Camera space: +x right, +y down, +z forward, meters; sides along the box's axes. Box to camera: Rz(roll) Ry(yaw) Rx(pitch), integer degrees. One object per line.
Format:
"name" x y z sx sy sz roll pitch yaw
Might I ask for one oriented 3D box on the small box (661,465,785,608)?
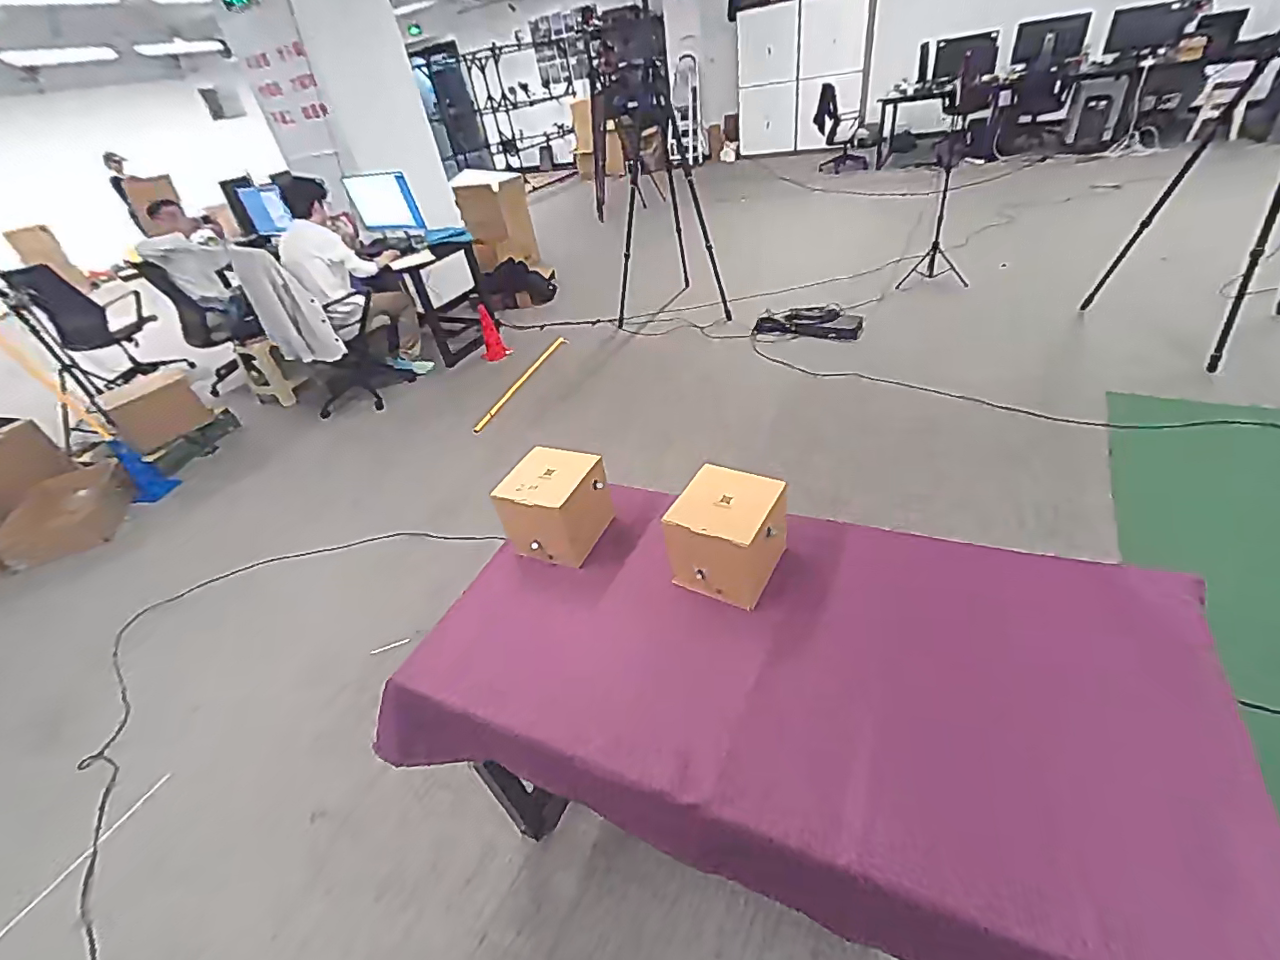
"small box" 0.159 0.102 1.005 0.168 0.176 0.179 15 45 30

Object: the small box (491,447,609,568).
"small box" -0.179 0.055 1.144 0.168 0.176 0.179 10 42 25
